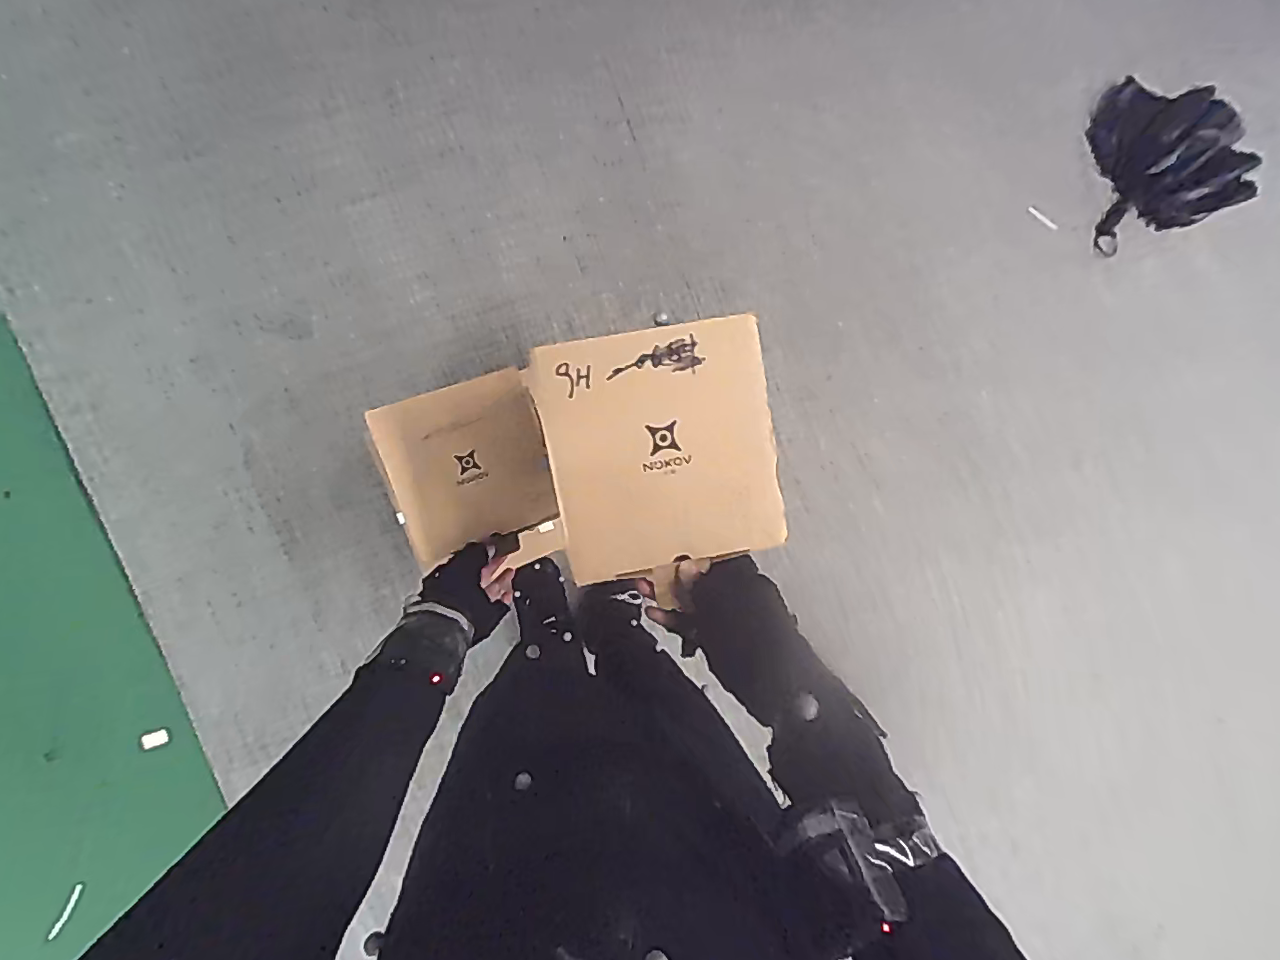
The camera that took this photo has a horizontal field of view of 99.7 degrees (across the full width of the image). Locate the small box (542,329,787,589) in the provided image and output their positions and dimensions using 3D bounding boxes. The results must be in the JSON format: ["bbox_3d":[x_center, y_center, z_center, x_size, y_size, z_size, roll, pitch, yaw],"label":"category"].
[{"bbox_3d":[0.014,-0.024,0.479,0.168,0.176,0.179,-10,97,-6],"label":"small box"}]

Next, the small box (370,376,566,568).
[{"bbox_3d":[-0.199,-0.015,0.670,0.168,0.176,0.179,-20,97,-10],"label":"small box"}]
